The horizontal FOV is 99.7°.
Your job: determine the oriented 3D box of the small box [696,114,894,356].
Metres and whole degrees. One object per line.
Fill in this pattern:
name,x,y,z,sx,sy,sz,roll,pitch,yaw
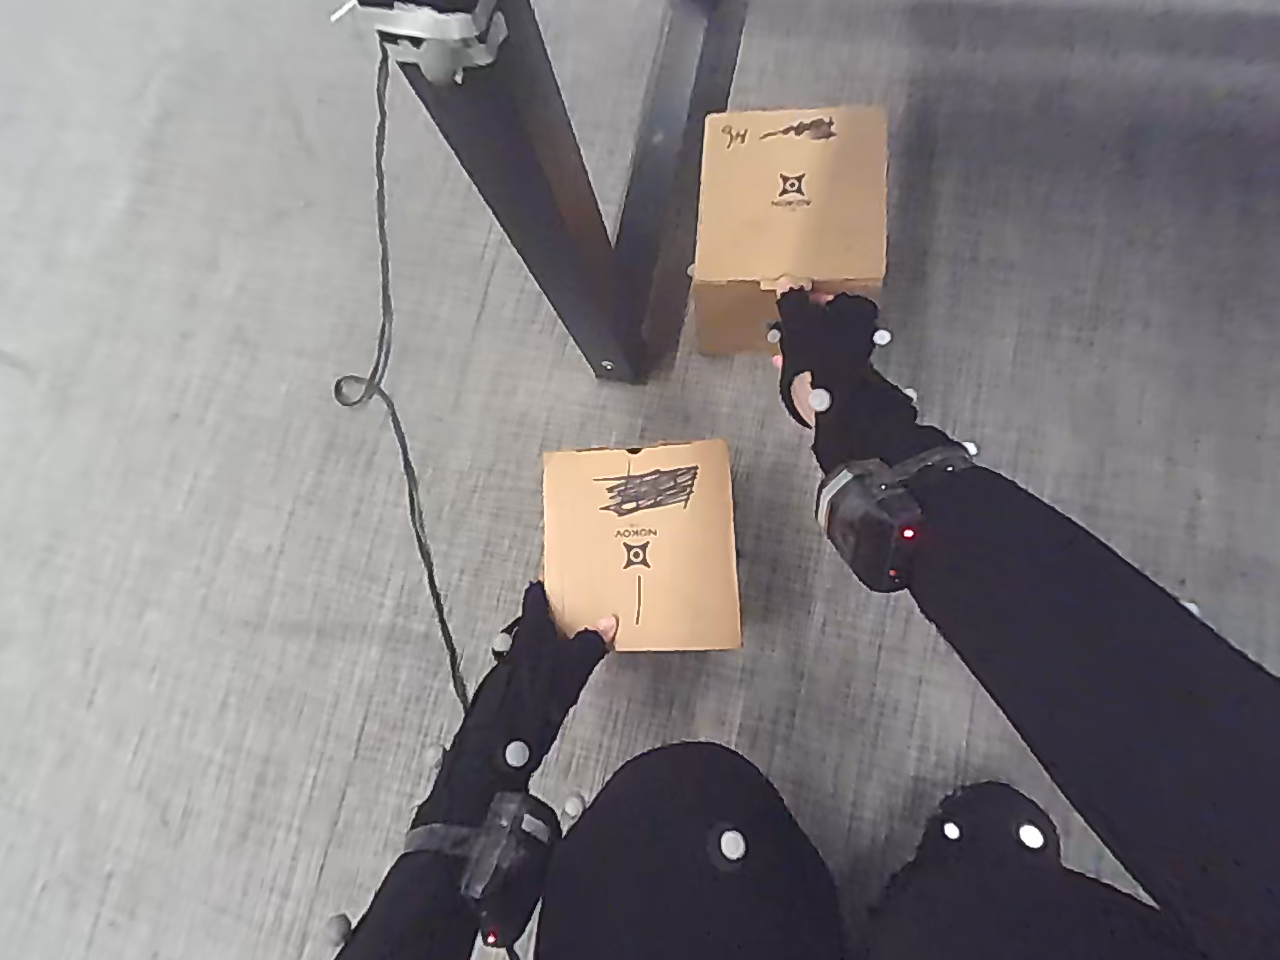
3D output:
small box,0.150,-0.242,0.569,0.168,0.176,0.179,5,83,7
